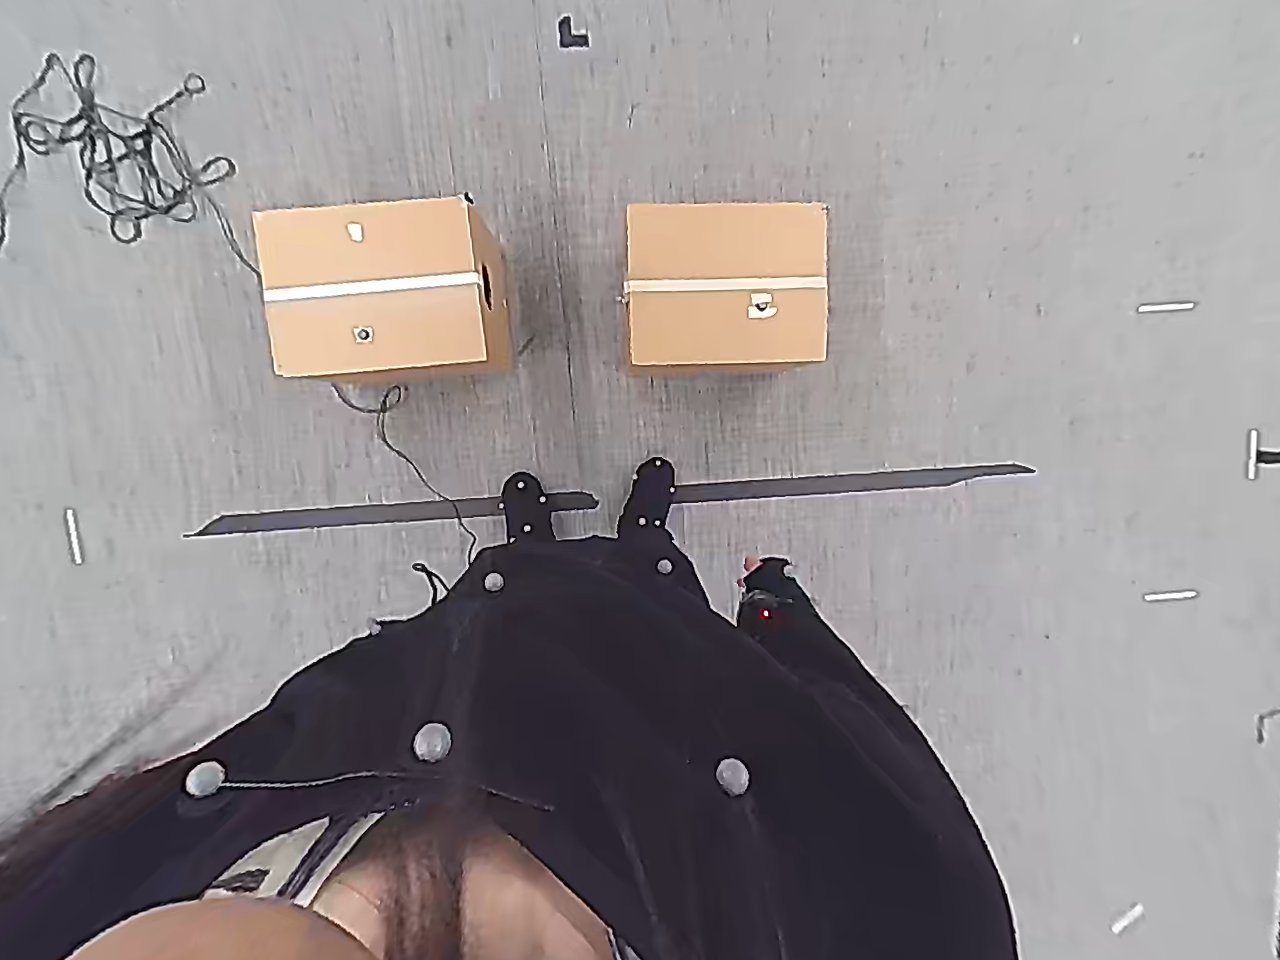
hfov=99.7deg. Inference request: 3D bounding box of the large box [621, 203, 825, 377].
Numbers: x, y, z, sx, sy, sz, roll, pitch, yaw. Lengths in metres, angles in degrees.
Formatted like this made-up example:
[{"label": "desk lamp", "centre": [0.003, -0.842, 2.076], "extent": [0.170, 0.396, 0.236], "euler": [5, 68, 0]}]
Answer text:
[{"label": "large box", "centre": [0.168, -0.413, 1.241], "extent": [0.408, 0.320, 0.320], "euler": [-2, 97, -4]}]
